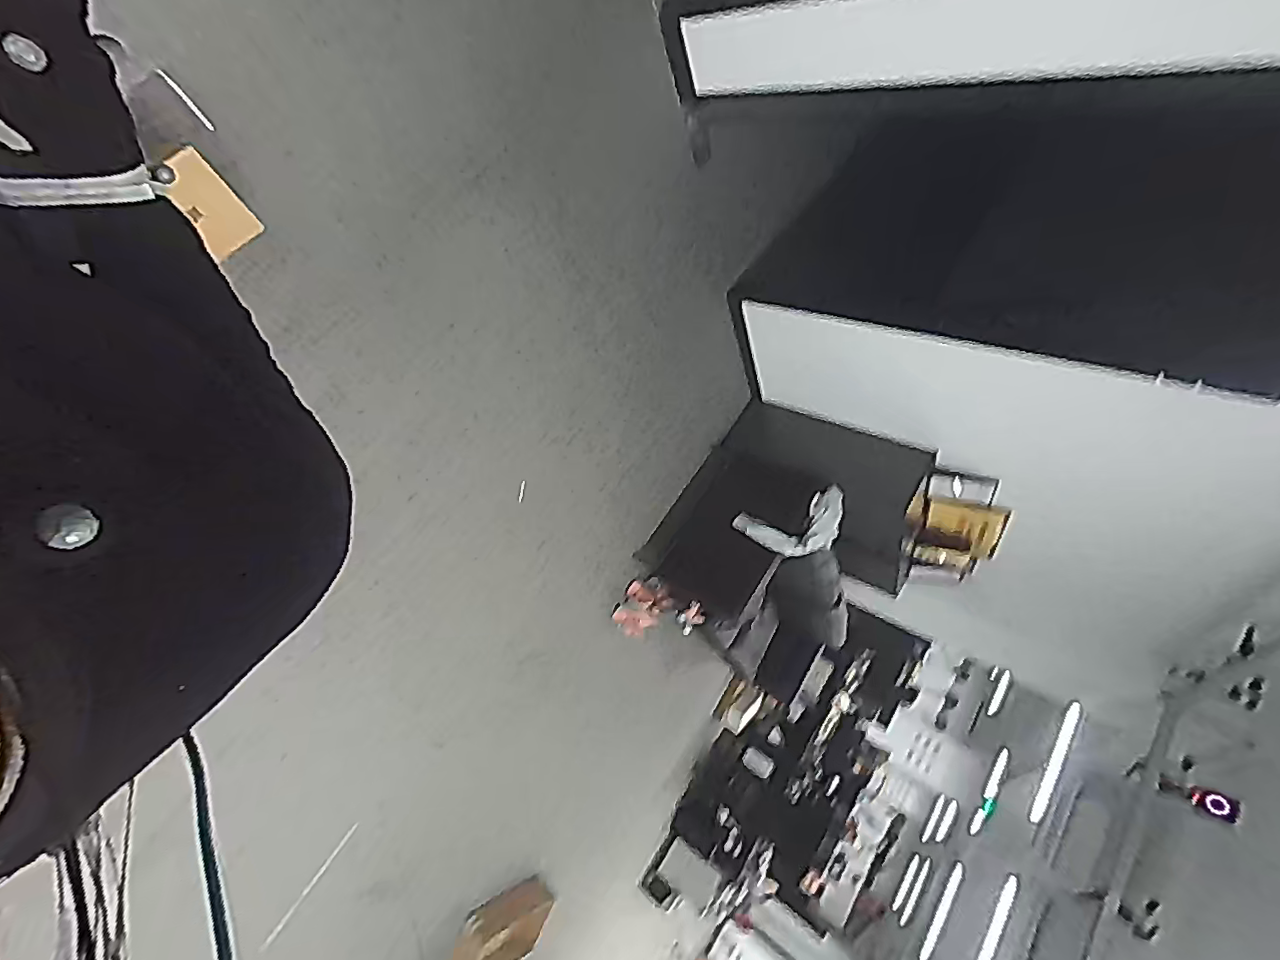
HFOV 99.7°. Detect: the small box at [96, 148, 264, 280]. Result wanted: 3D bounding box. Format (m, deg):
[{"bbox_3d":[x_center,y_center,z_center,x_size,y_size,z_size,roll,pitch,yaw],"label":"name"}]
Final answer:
[{"bbox_3d":[-0.900,-0.525,1.058,0.179,0.176,0.168,-51,144,-18],"label":"small box"}]
